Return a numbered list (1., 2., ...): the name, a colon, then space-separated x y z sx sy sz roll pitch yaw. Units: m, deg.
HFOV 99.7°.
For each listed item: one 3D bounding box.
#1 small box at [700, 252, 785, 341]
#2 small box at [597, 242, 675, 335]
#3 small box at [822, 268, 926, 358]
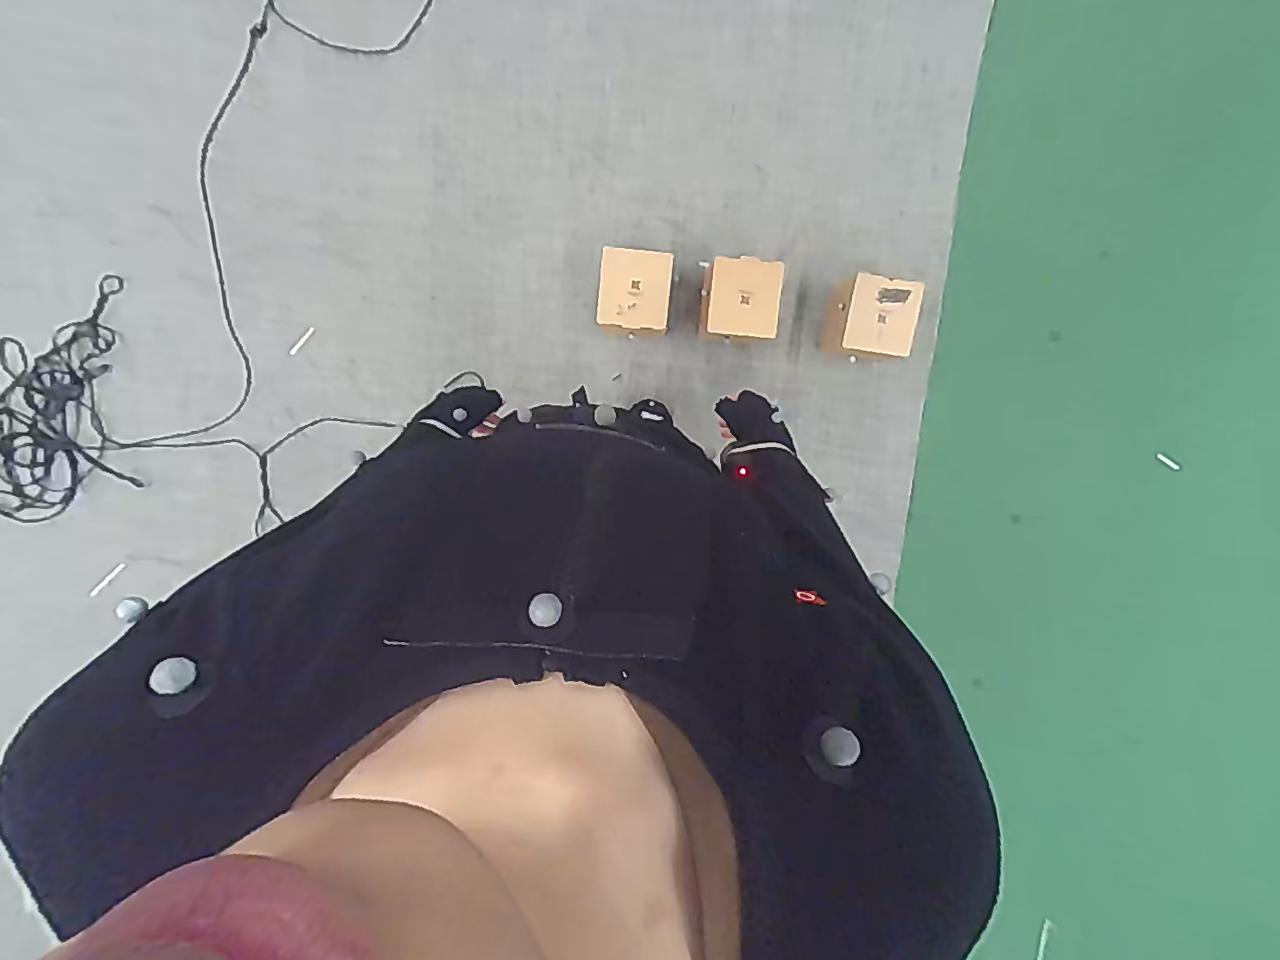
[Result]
1. small box: 0.244 -0.442 1.329 0.168 0.176 0.179 4 98 -2
2. small box: -0.010 -0.459 1.321 0.168 0.176 0.179 6 99 -1
3. small box: 0.568 -0.405 1.337 0.168 0.176 0.179 8 100 -2
